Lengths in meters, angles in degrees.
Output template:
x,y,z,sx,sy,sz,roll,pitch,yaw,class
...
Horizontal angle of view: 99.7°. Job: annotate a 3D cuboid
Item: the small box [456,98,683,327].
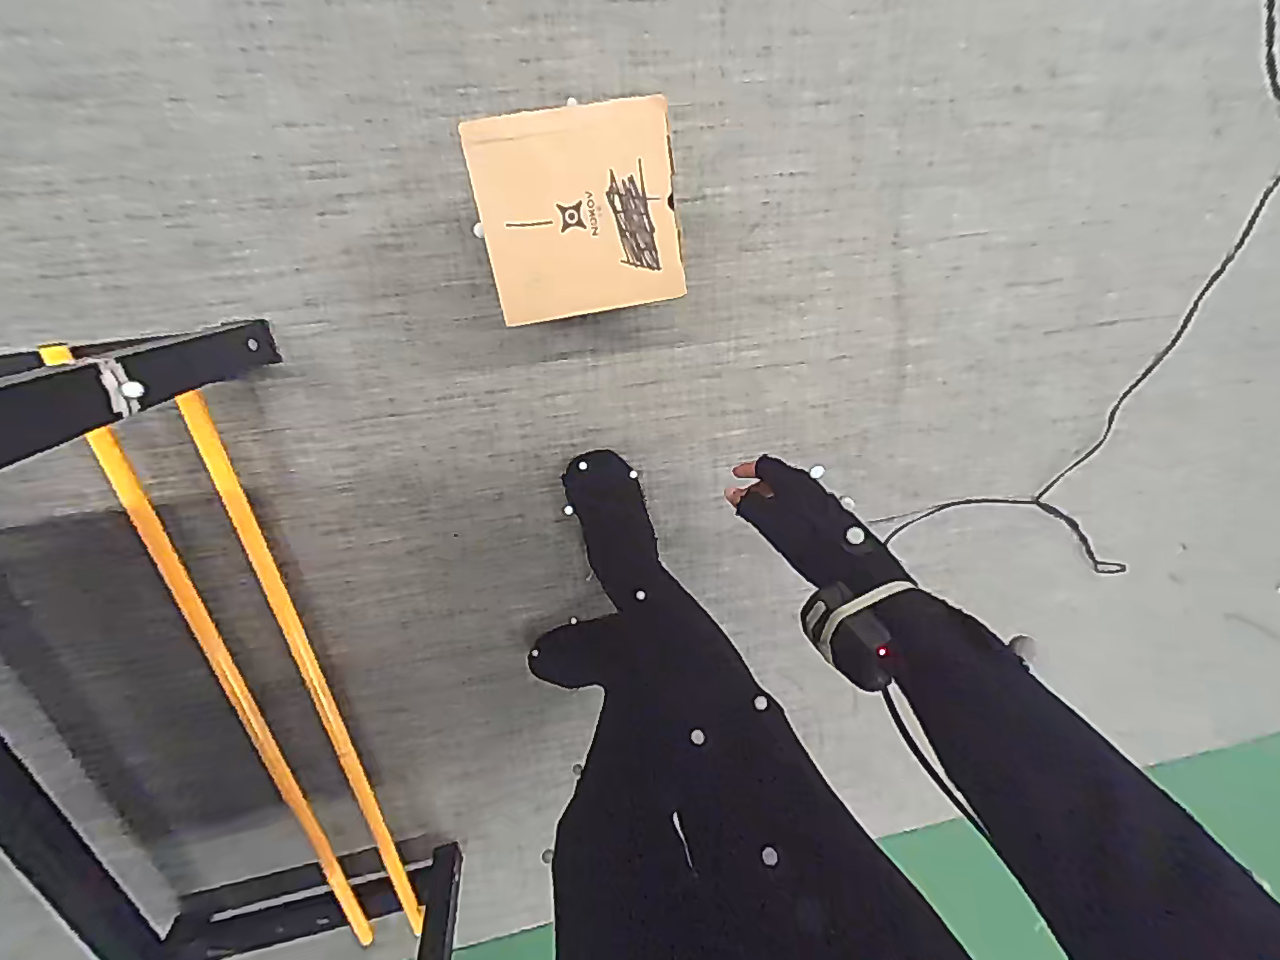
x,y,z,sx,sy,sz,roll,pitch,yaw,class
-0.067,-0.261,0.544,0.179,0.176,0.168,-11,114,-5,small box
